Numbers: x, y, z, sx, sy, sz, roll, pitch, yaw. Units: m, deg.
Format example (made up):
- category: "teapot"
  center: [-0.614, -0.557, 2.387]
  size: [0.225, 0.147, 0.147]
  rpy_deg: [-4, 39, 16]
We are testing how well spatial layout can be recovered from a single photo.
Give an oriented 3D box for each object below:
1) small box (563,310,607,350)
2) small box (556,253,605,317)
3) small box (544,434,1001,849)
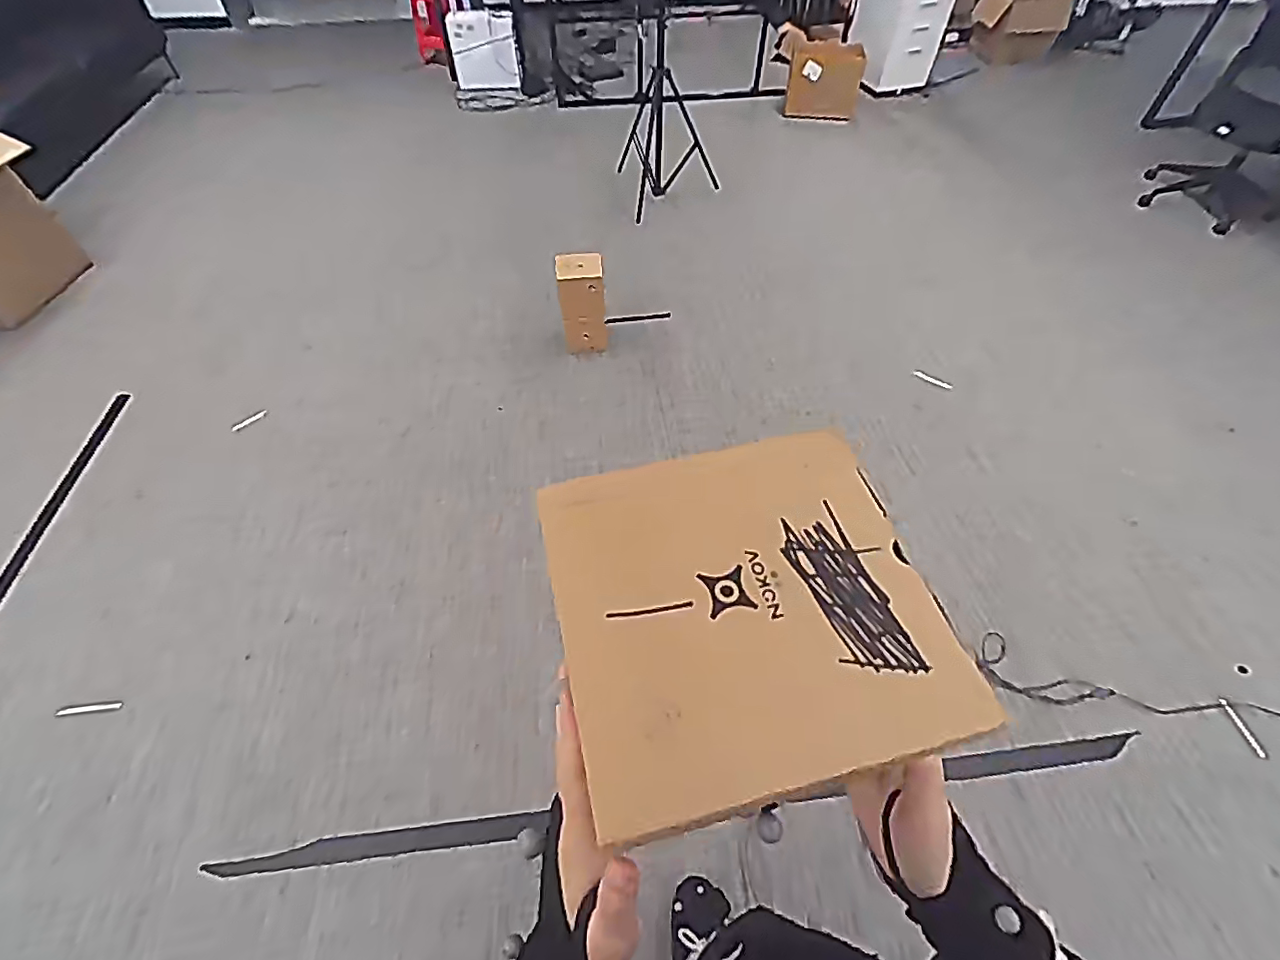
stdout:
- category: "small box"
  center: [-0.226, -0.648, 2.221]
  size: [0.168, 0.176, 0.179]
  rpy_deg: [-5, 54, -3]
- category: "small box"
  center: [-0.226, -0.751, 2.090]
  size: [0.179, 0.176, 0.168]
  rpy_deg: [-6, 52, -3]
- category: "small box"
  center: [0.048, 0.099, 0.321]
  size: [0.179, 0.176, 0.168]
  rpy_deg: [-11, 56, -9]
